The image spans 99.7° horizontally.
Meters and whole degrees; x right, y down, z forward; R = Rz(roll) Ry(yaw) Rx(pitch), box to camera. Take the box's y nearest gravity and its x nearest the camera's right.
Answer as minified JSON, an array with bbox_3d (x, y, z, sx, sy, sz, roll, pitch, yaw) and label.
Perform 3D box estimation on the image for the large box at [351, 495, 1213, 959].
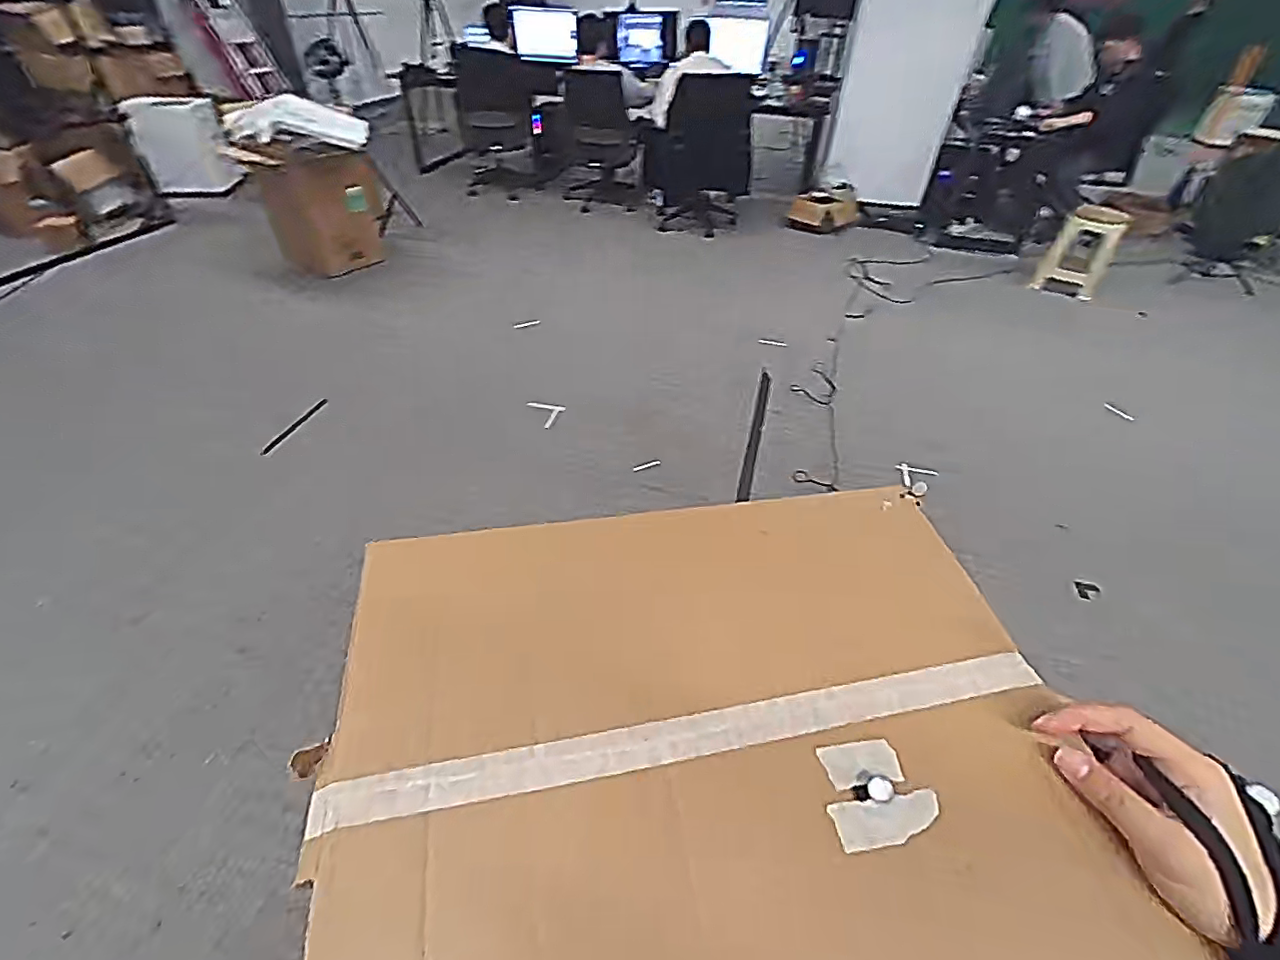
[{"bbox_3d":[0.039,0.240,0.421,0.408,0.320,0.320,-4,50,-12],"label":"large box"}]
